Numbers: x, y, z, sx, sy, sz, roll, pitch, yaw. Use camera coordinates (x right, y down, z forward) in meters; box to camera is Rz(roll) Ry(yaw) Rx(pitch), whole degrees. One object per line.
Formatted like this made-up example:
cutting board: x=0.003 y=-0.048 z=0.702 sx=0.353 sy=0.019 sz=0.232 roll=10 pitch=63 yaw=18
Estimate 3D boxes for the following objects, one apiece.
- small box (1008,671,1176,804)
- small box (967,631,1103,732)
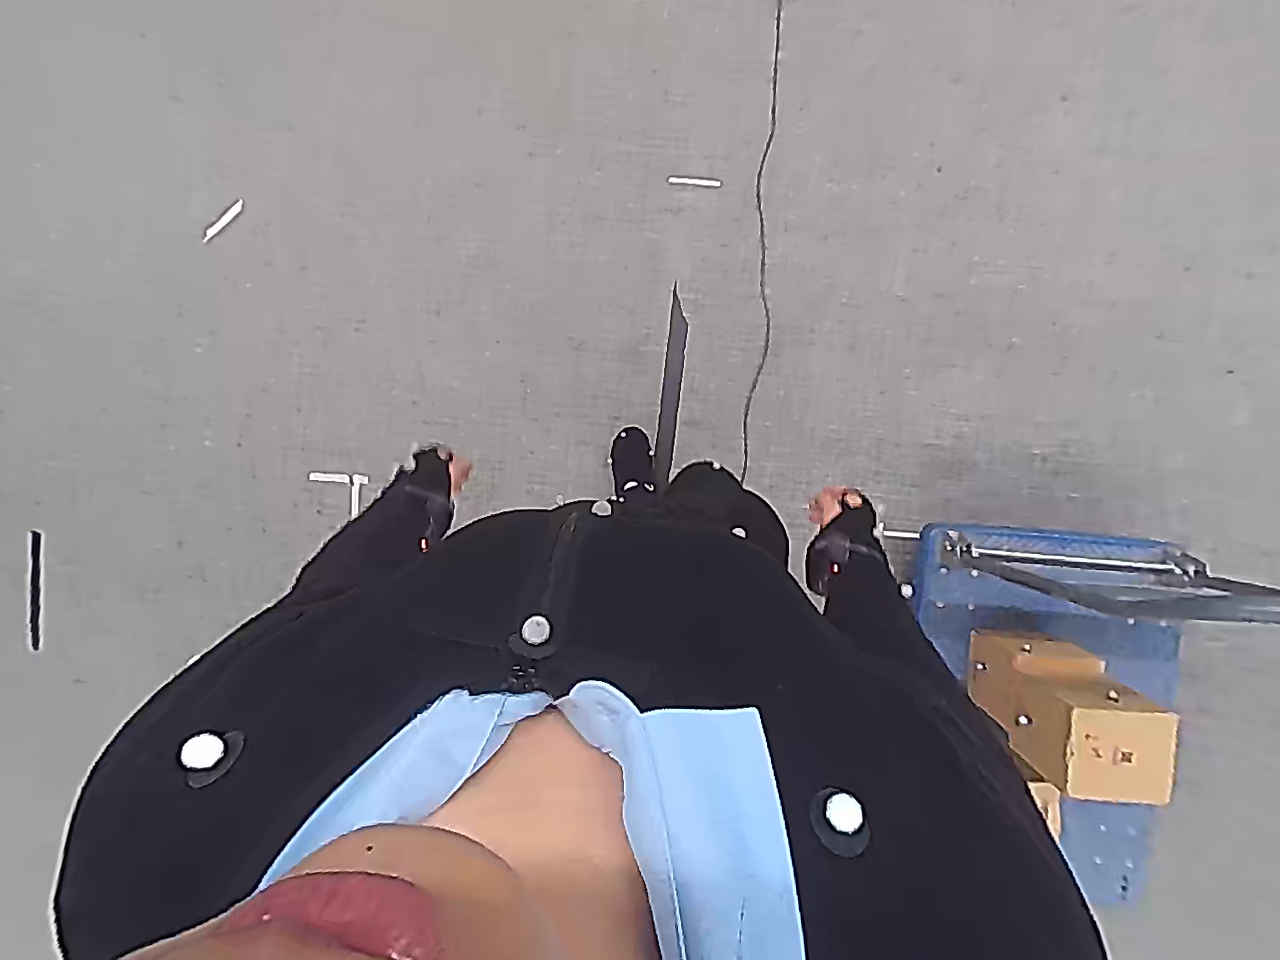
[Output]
small box: x=0.839 y=0.475 z=1.020 sx=0.179 sy=0.176 sz=0.168 roll=2 pitch=93 yaw=5
small box: x=0.853 y=0.439 z=1.182 sx=0.179 sy=0.176 sz=0.168 roll=1 pitch=94 yaw=5
